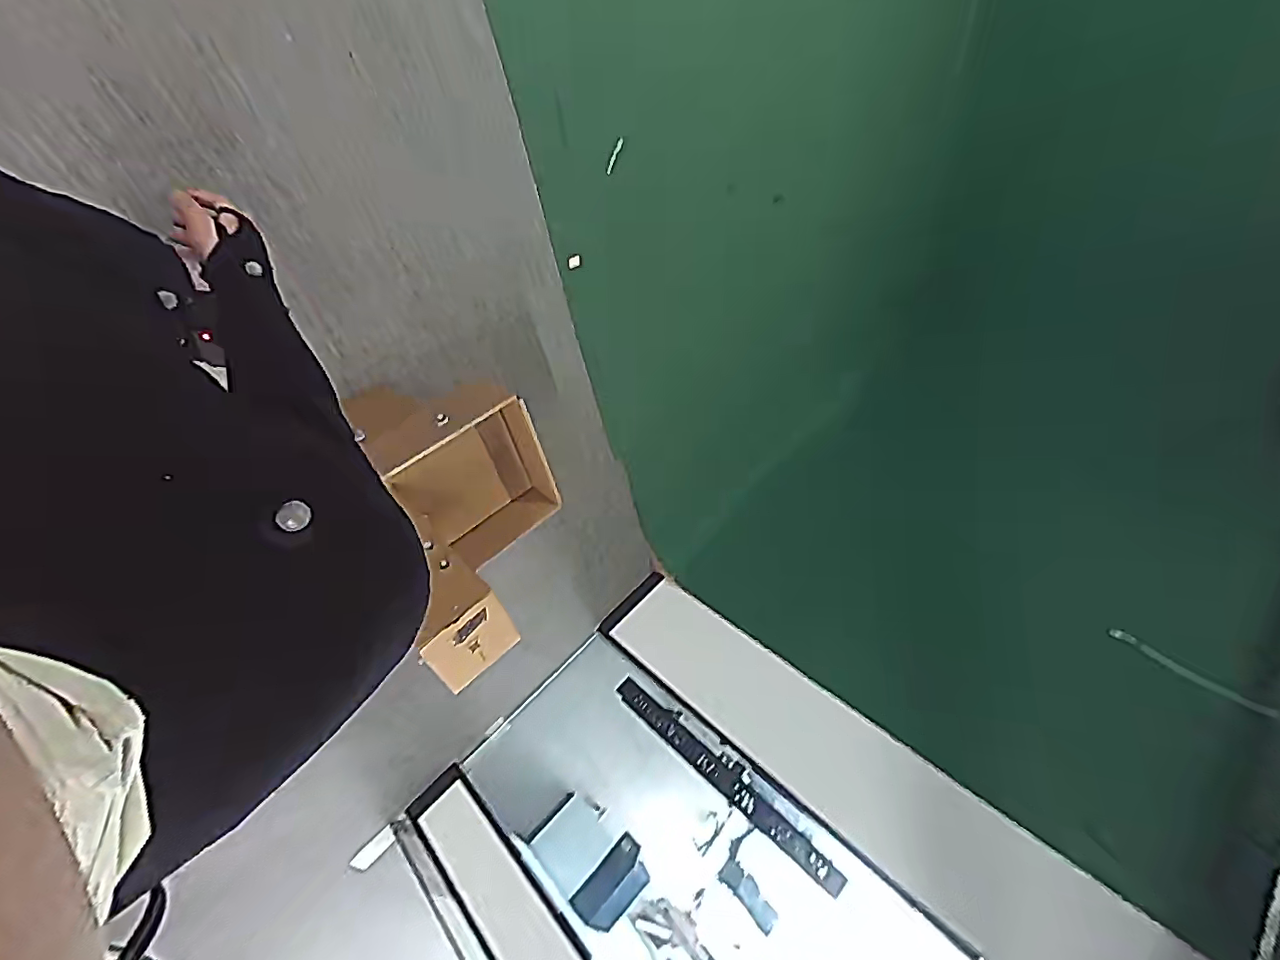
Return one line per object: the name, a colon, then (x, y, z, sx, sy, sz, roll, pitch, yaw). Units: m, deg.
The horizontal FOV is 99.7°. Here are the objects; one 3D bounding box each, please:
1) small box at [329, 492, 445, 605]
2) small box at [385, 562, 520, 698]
small box: (-0.600, 0.160, 1.291, 0.168, 0.176, 0.179, -37, 136, -26)
small box: (-0.377, 0.290, 1.088, 0.168, 0.176, 0.179, -38, 138, -25)
